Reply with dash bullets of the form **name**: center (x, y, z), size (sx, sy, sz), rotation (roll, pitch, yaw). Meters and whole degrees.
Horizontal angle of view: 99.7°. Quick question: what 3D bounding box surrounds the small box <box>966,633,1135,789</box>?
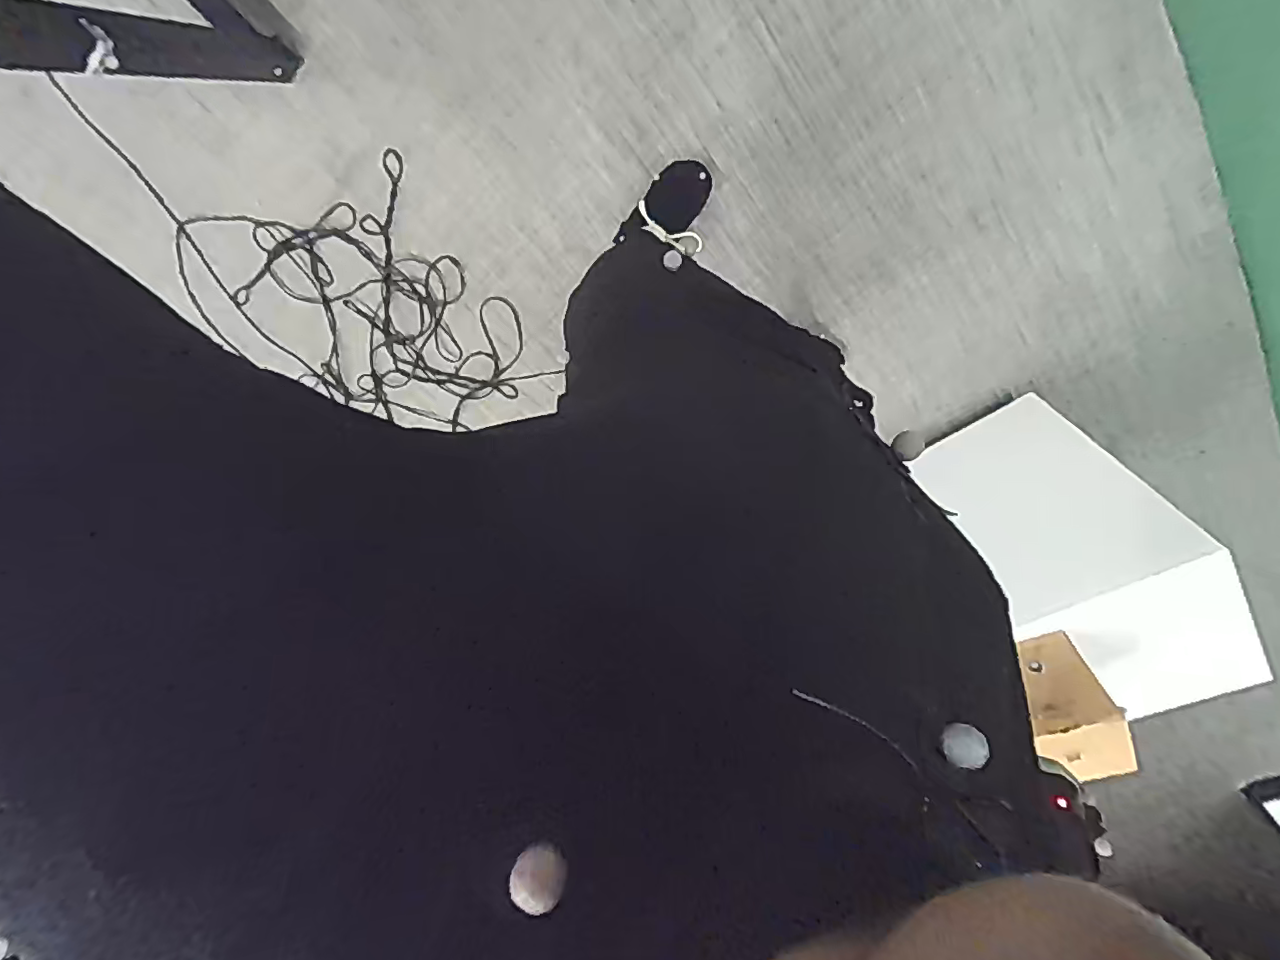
- **small box**: center (0.705, 0.400, 0.941), size (0.168, 0.176, 0.179), rotation (-27, 119, 21)
